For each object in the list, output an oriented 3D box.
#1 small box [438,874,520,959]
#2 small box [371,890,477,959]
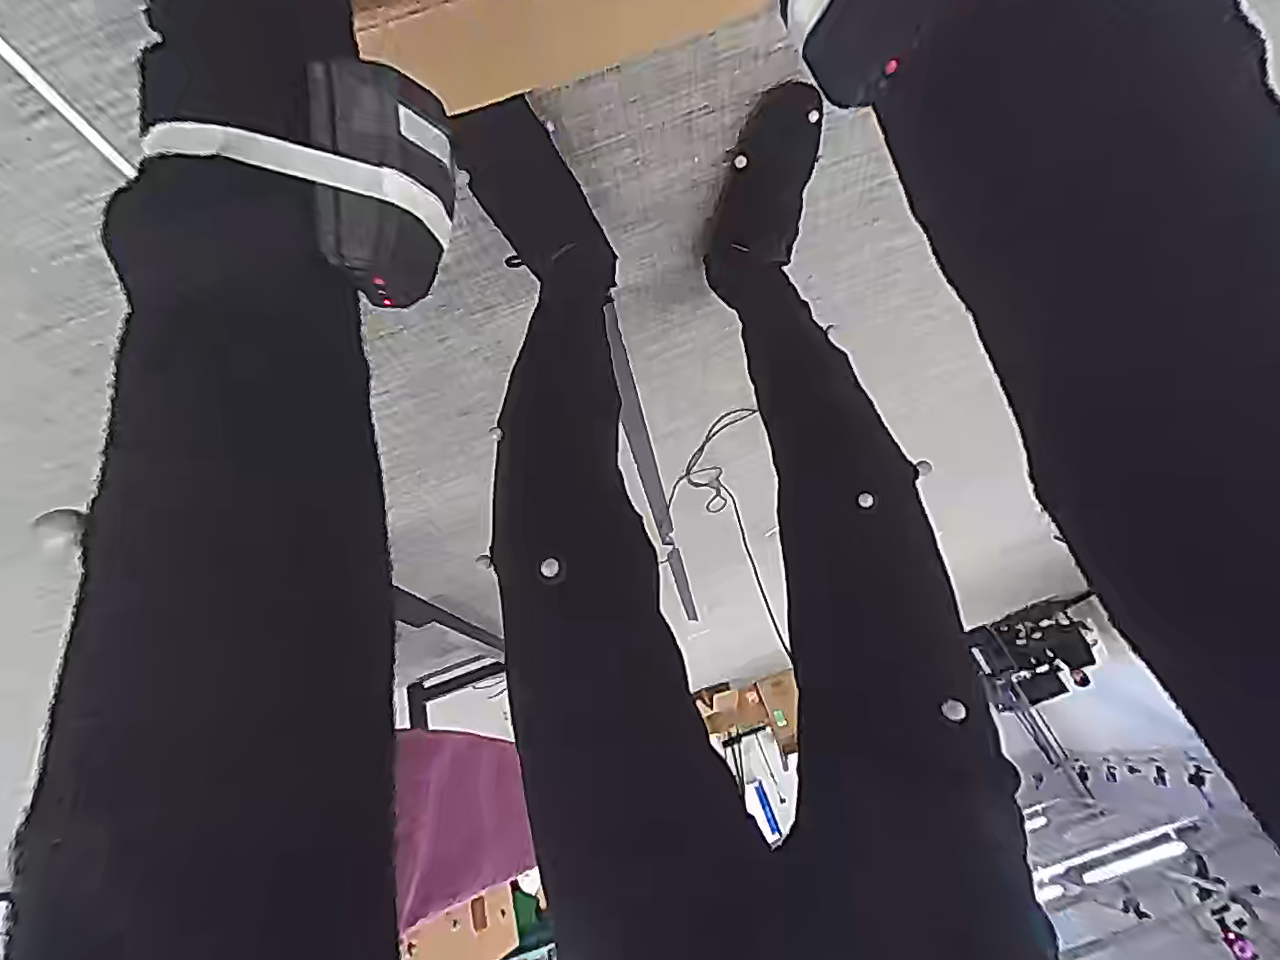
[{"bbox_3d":[-0.450,1.194,1.464,0.179,0.176,0.168,-21,151,2],"label":"small box"},{"bbox_3d":[-0.499,1.086,1.253,0.179,0.176,0.168,-24,151,4],"label":"small box"}]
